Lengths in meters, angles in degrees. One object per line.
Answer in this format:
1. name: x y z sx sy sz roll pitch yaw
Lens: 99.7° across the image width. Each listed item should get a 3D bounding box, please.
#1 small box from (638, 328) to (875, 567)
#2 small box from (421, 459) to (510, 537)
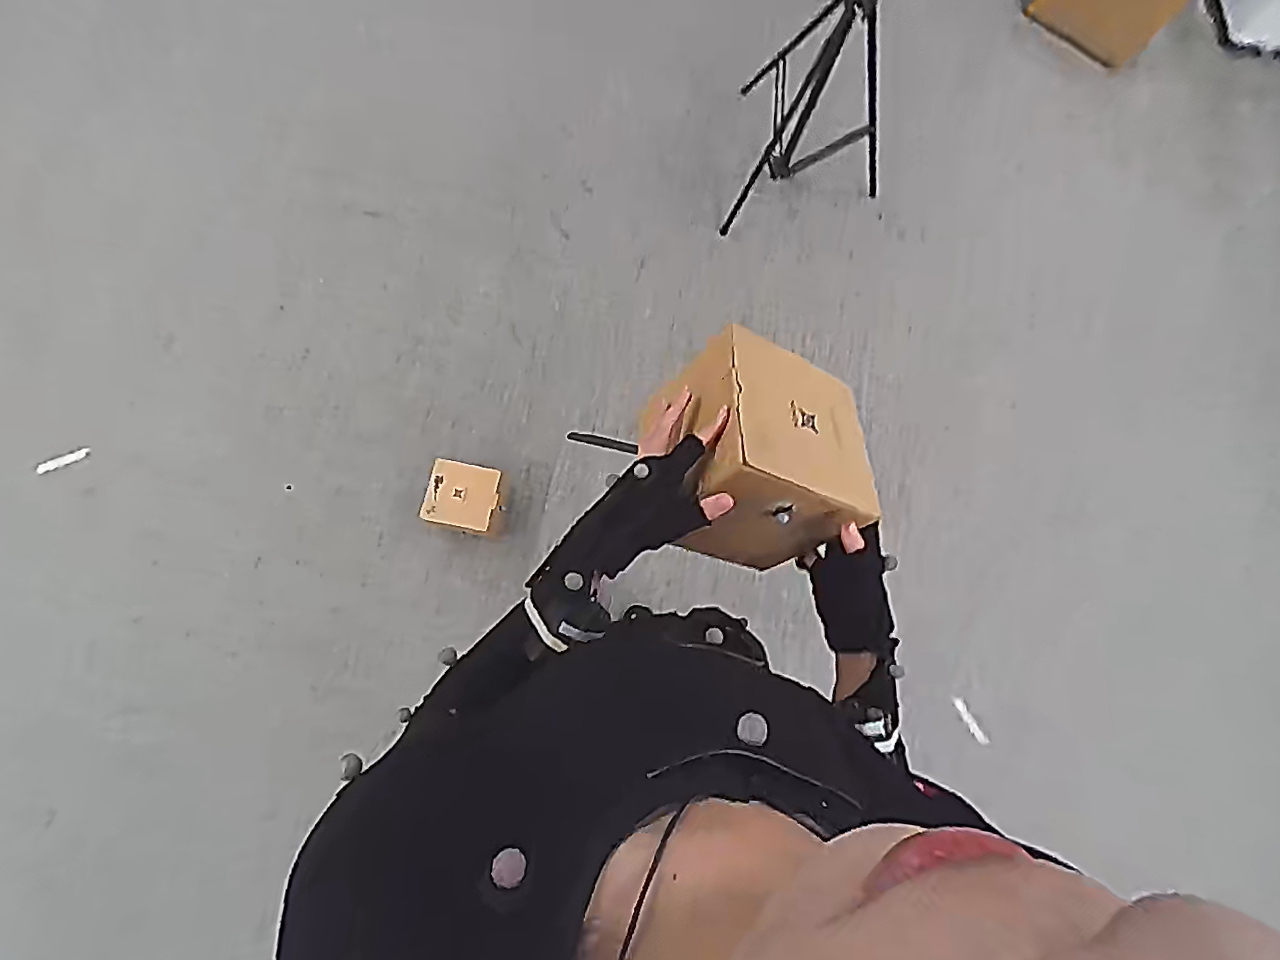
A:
1. small box: 0.110 -0.021 0.578 0.179 0.176 0.168 19 55 -27
2. small box: -0.464 0.056 1.469 0.179 0.176 0.168 13 76 -3
